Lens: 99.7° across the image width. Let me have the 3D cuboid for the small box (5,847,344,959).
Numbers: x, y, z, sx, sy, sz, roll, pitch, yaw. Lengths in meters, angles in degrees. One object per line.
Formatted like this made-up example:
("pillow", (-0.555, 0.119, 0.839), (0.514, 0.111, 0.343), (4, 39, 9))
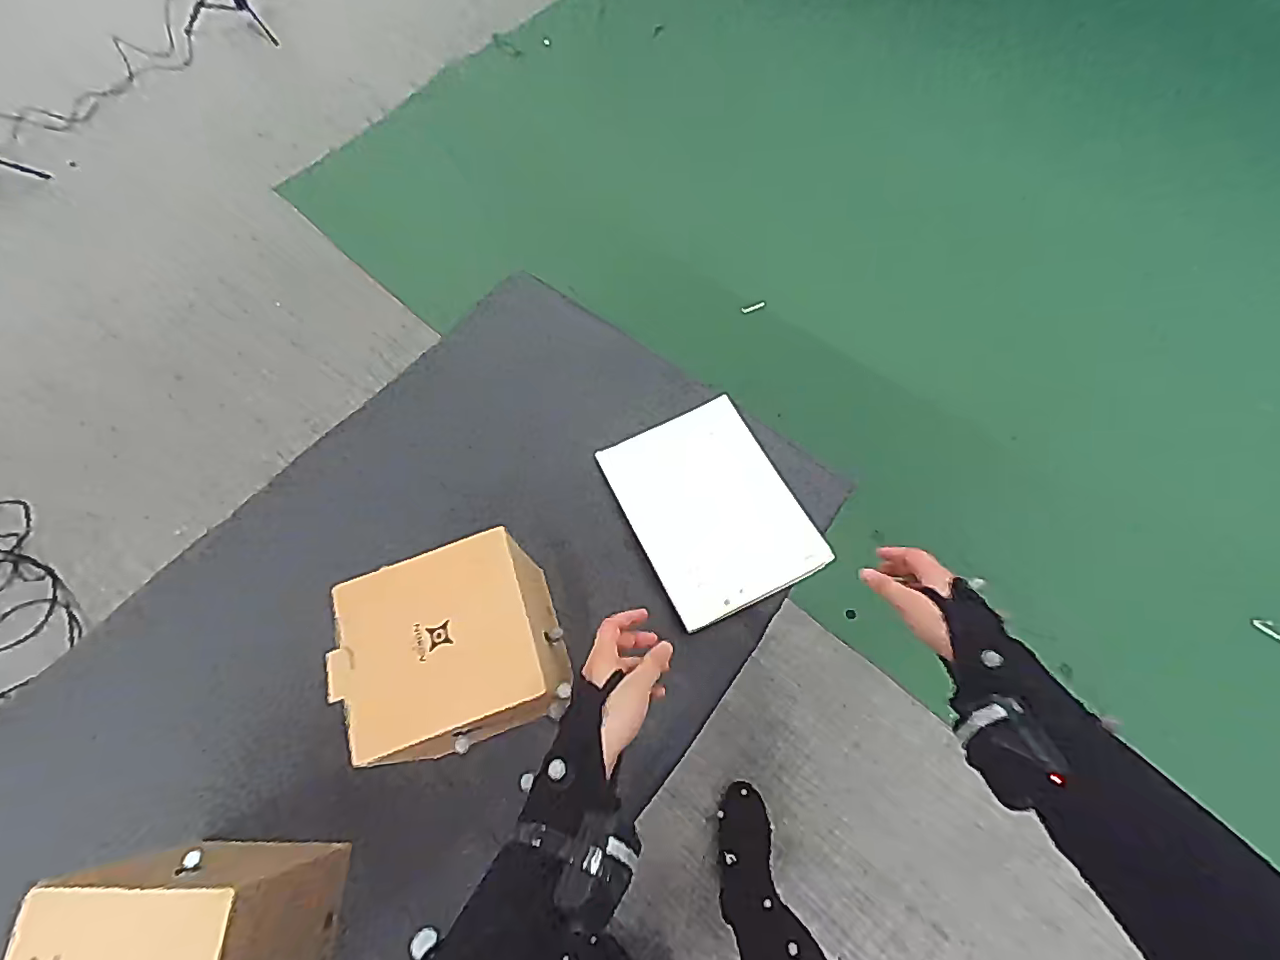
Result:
("small box", (-0.393, 0.431, 0.465), (0.179, 0.176, 0.168), (-2, 66, 4))

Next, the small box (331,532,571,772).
("small box", (-0.179, 0.177, 0.559), (0.179, 0.176, 0.168), (-21, 66, -3))
